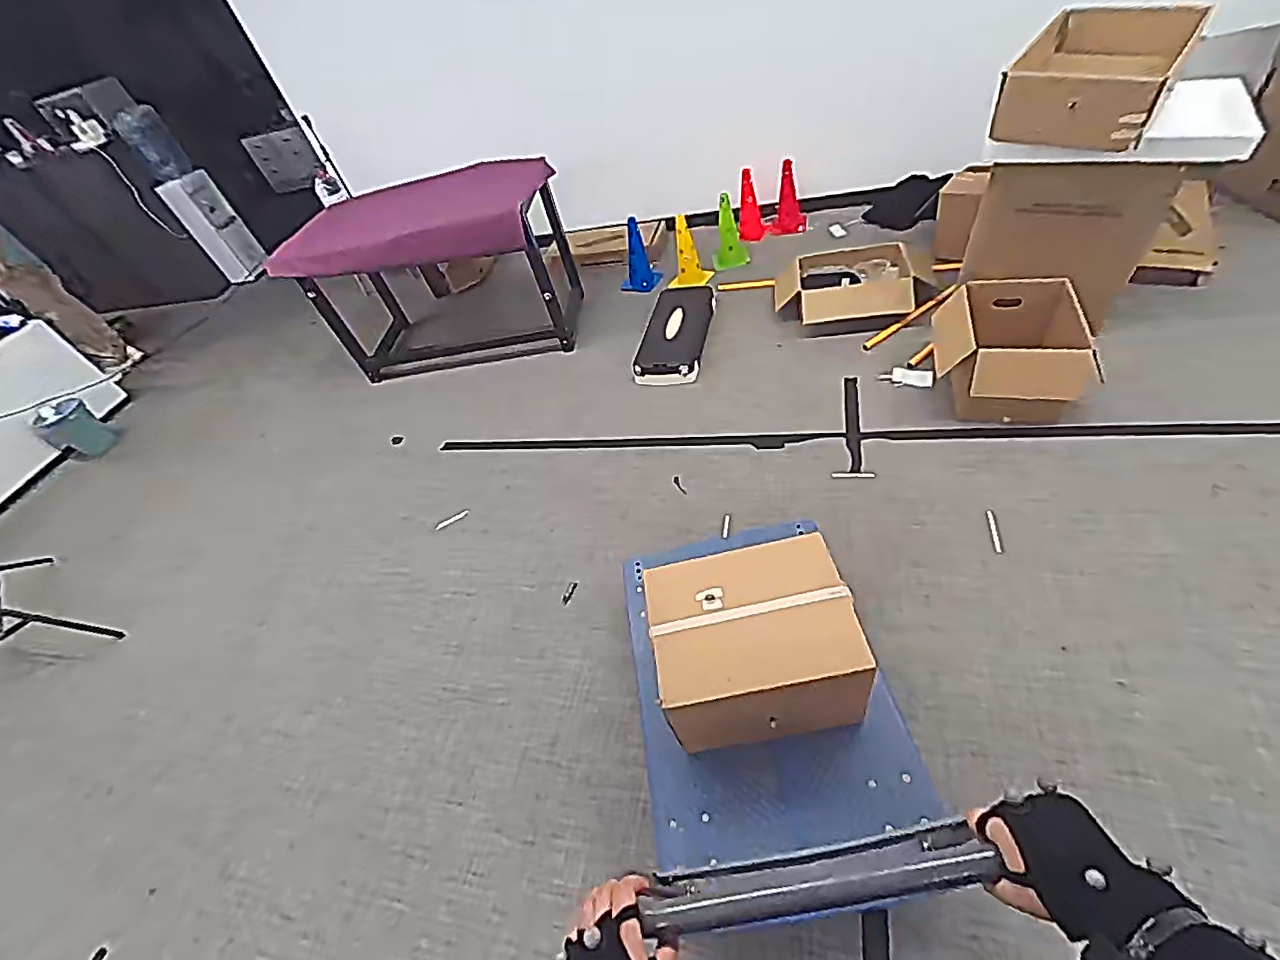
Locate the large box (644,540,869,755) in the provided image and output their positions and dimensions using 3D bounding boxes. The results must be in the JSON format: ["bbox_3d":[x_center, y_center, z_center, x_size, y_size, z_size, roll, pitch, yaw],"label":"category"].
[{"bbox_3d":[0.252,0.385,1.224,0.408,0.320,0.320,-14,46,5],"label":"large box"}]
